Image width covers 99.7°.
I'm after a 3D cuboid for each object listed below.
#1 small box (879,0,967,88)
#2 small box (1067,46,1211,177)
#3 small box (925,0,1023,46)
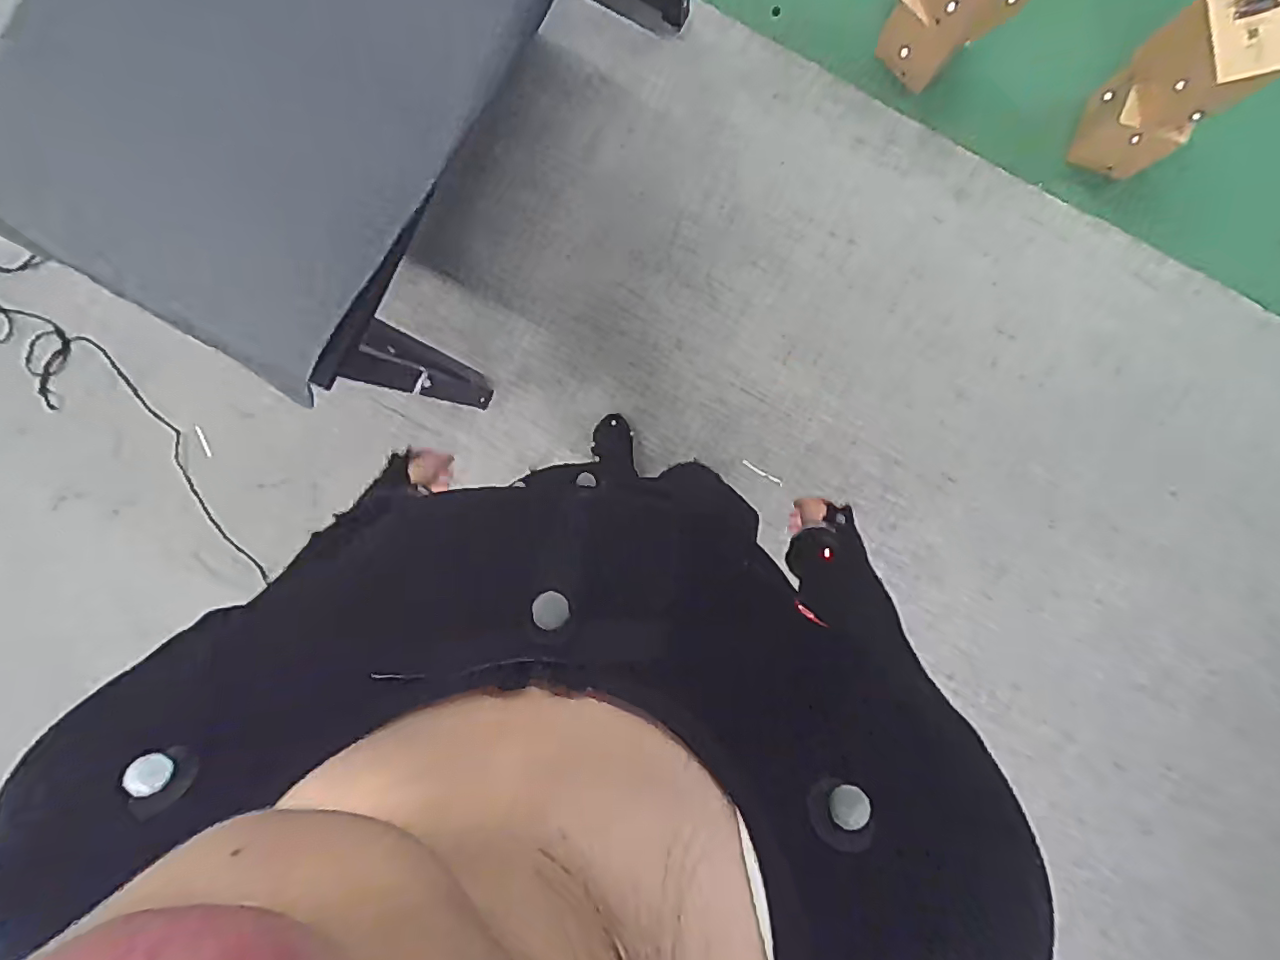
[{"bbox_3d":[0.711,-1.113,1.307,0.179,0.176,0.168,-45,92,3],"label":"small box"},{"bbox_3d":[1.194,-0.882,1.309,0.168,0.176,0.179,20,93,0],"label":"small box"},{"bbox_3d":[0.731,-1.082,1.147,0.179,0.176,0.168,-24,94,2],"label":"small box"}]
